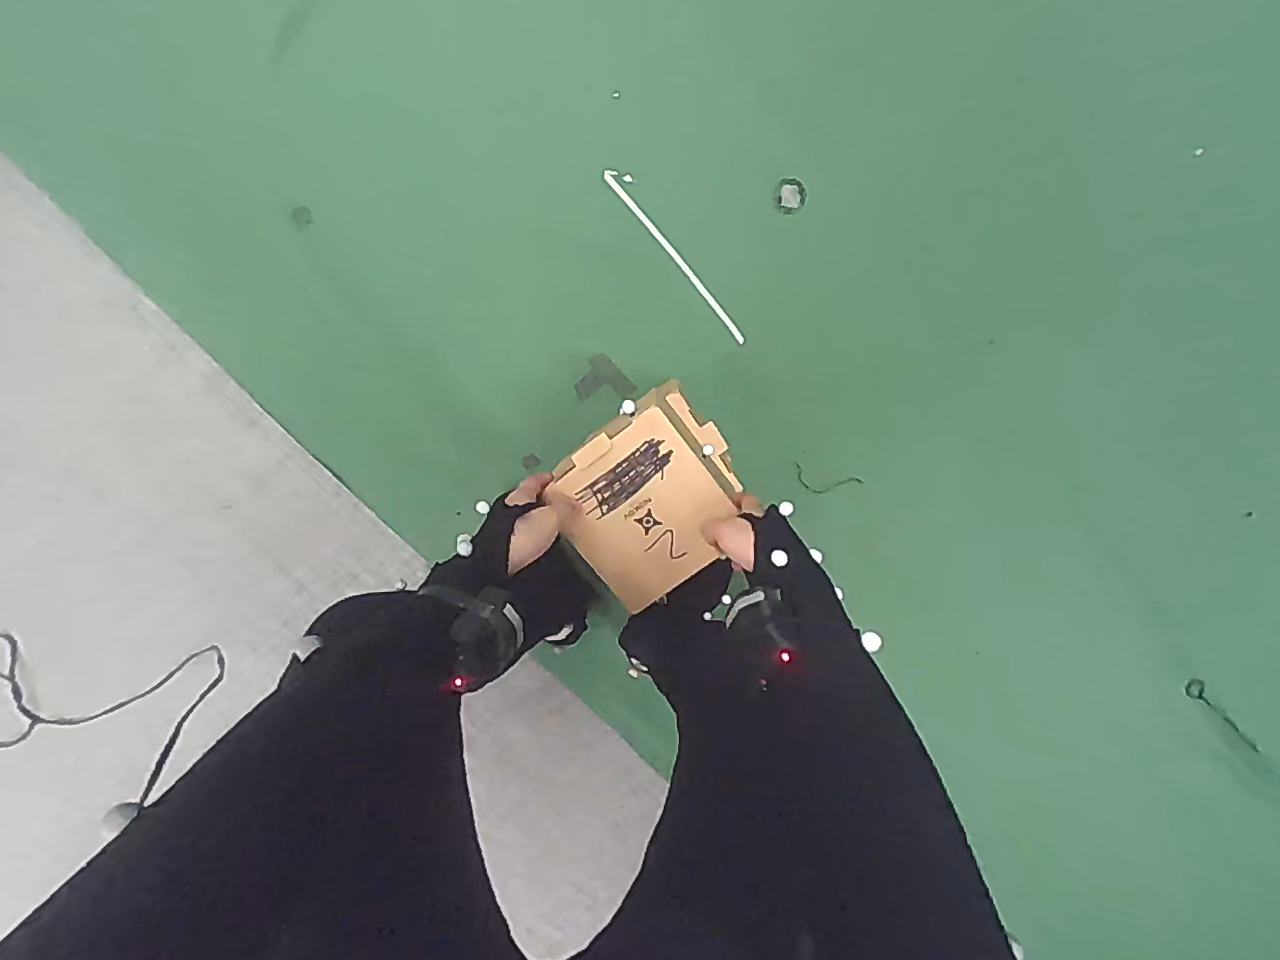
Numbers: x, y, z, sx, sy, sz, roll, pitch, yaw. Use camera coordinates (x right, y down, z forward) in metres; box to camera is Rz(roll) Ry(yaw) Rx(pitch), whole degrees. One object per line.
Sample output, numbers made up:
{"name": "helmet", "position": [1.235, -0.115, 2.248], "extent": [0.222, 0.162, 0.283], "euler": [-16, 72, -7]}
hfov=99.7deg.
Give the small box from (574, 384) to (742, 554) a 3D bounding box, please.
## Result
{"name": "small box", "position": [0.029, -0.025, 0.808], "extent": [0.179, 0.176, 0.168], "euler": [-33, 102, 10]}
